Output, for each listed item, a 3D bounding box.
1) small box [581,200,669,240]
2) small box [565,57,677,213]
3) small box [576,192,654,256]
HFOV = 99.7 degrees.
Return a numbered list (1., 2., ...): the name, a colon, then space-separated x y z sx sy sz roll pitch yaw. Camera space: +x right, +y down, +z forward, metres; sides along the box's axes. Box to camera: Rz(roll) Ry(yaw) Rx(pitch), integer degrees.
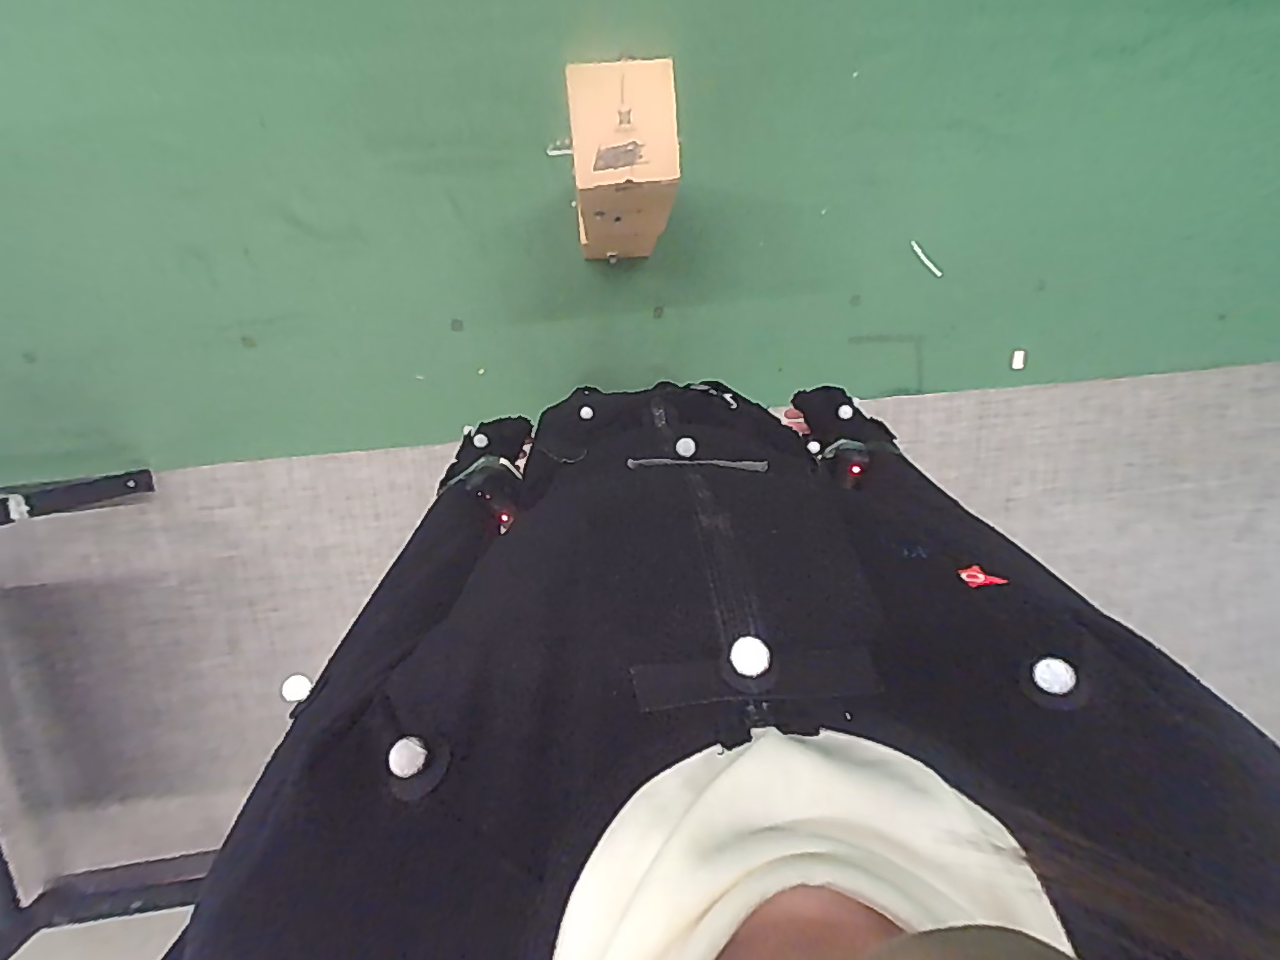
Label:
1. small box: -0.038 -0.595 1.070 0.168 0.176 0.179 -5 100 -2
2. small box: -0.030 -0.563 0.908 0.168 0.176 0.179 -5 100 -3
3. small box: -0.058 -0.615 1.213 0.168 0.176 0.179 -2 101 -2
